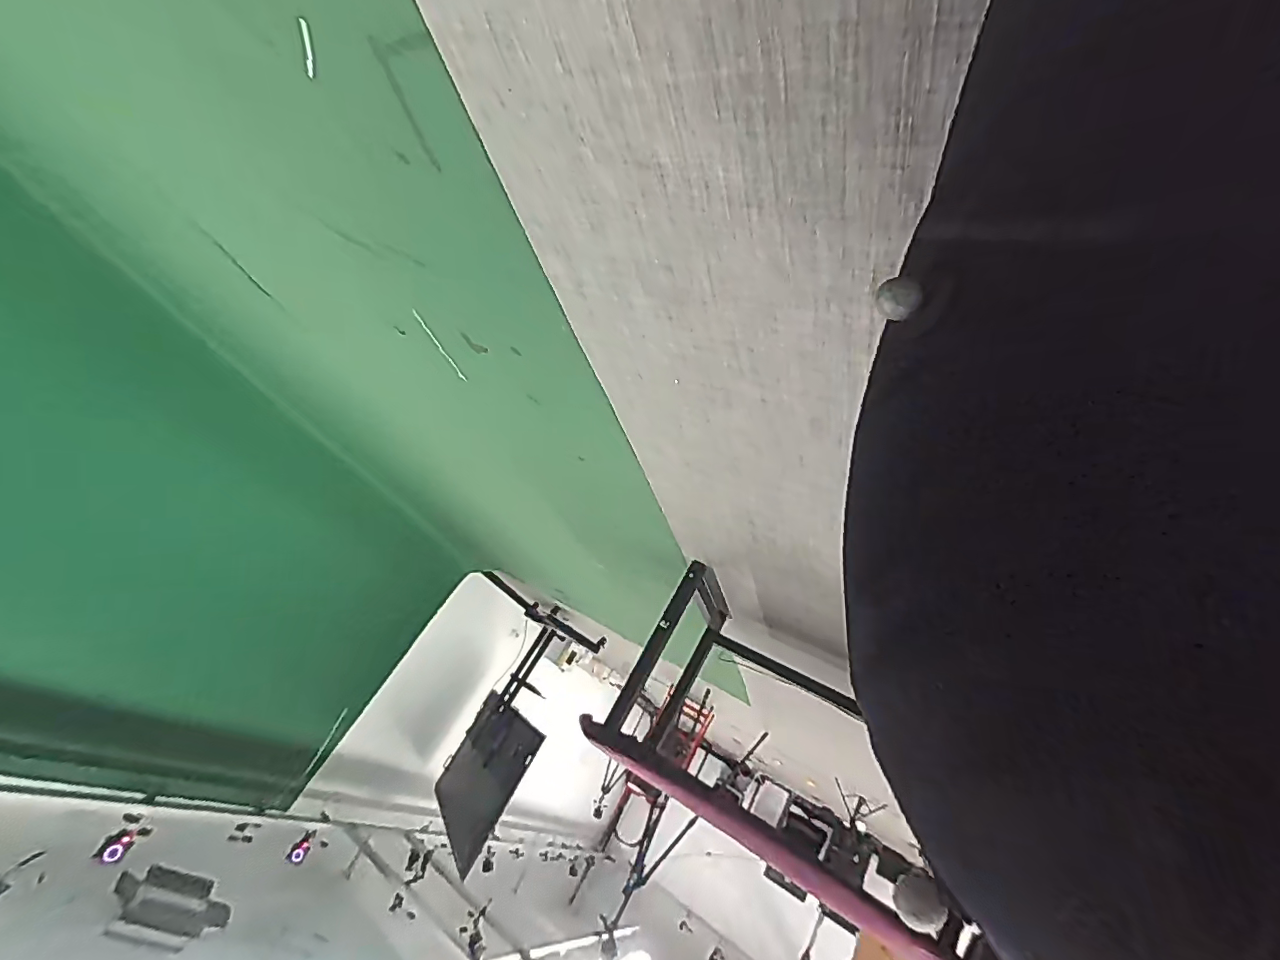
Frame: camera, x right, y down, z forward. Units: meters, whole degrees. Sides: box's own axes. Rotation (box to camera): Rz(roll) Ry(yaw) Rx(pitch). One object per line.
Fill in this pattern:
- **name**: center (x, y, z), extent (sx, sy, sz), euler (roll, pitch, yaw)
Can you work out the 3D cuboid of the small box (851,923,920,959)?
- **small box**: center (0.672, 1.361, 1.484), extent (0.168, 0.176, 0.179), euler (18, 152, 32)
